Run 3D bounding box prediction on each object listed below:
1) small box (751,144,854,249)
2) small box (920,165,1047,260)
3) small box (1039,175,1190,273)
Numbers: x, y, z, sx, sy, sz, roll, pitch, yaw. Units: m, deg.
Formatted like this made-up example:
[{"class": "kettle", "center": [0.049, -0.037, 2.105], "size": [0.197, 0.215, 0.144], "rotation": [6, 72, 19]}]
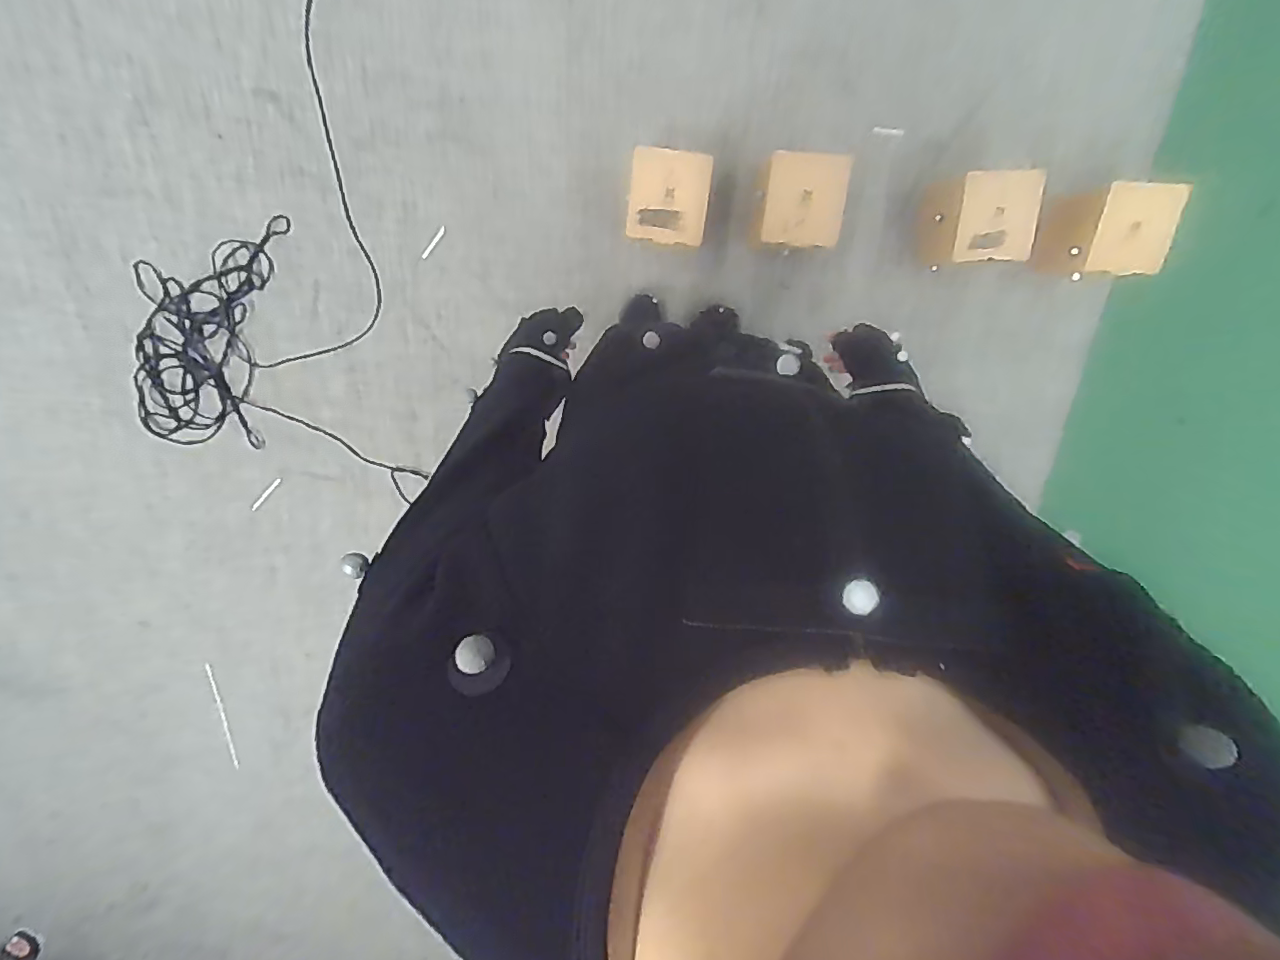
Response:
[{"class": "small box", "center": [0.348, -0.618, 1.196], "size": [0.168, 0.176, 0.179], "rotation": [5, 111, 1]}, {"class": "small box", "center": [0.749, -0.585, 1.203], "size": [0.168, 0.176, 0.179], "rotation": [-1, 109, 1]}, {"class": "small box", "center": [1.041, -0.562, 1.206], "size": [0.168, 0.176, 0.179], "rotation": [3, 110, 1]}]
